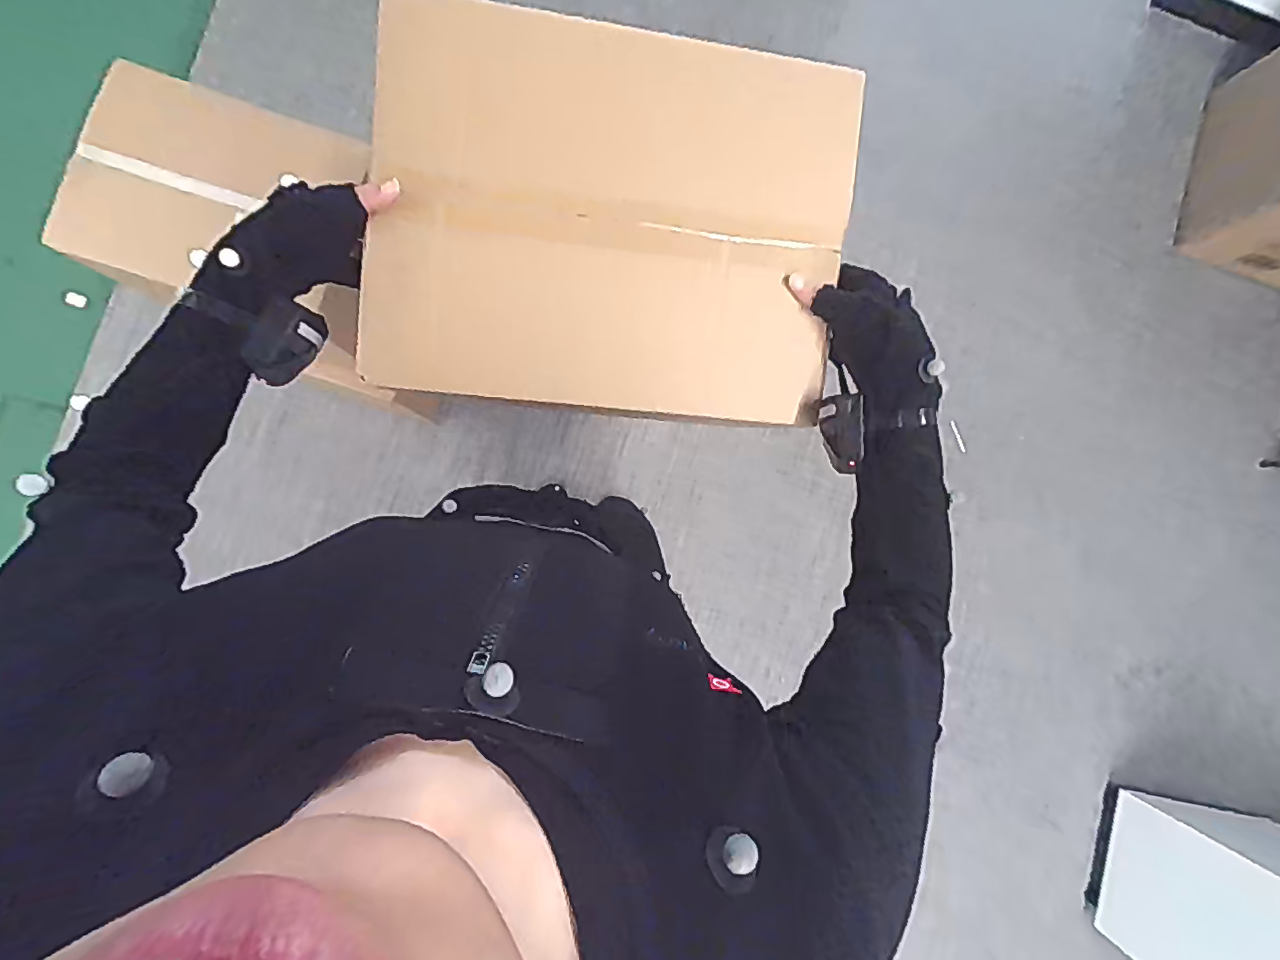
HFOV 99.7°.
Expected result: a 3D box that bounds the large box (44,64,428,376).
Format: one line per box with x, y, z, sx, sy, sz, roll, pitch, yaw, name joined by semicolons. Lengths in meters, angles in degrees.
-0.663;-0.426;0.973;0.408;0.320;0.320;18;83;-5;large box
